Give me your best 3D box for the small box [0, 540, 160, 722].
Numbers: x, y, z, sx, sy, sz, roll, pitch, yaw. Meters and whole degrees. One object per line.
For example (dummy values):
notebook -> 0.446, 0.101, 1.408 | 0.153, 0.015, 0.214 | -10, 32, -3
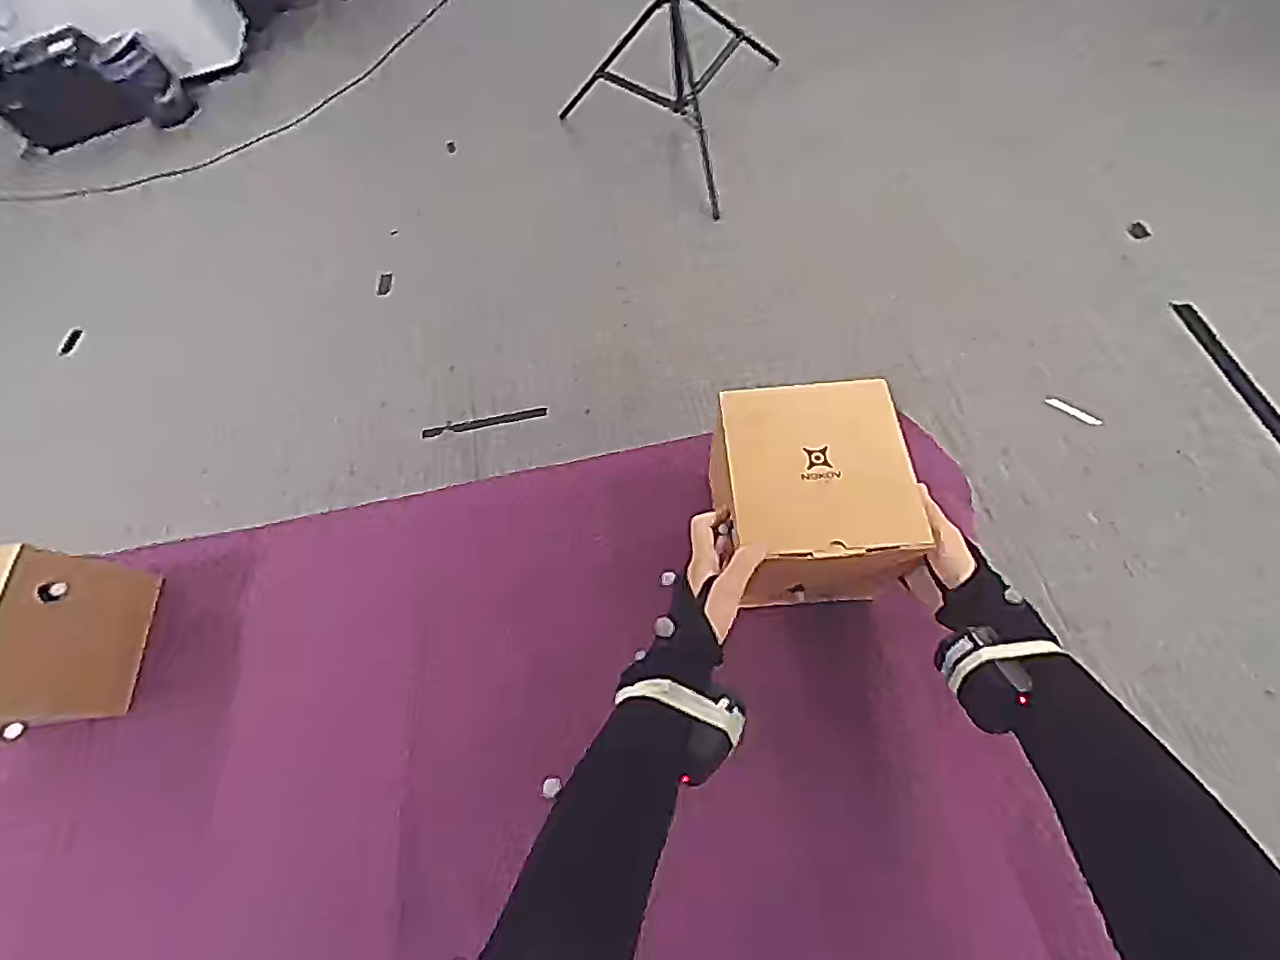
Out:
small box -> -0.726, 0.184, 0.635 | 0.168, 0.176, 0.179 | -8, 67, 5

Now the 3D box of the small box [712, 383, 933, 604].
small box -> 0.170, 0.022, 0.571 | 0.168, 0.176, 0.179 | -4, 64, 2
